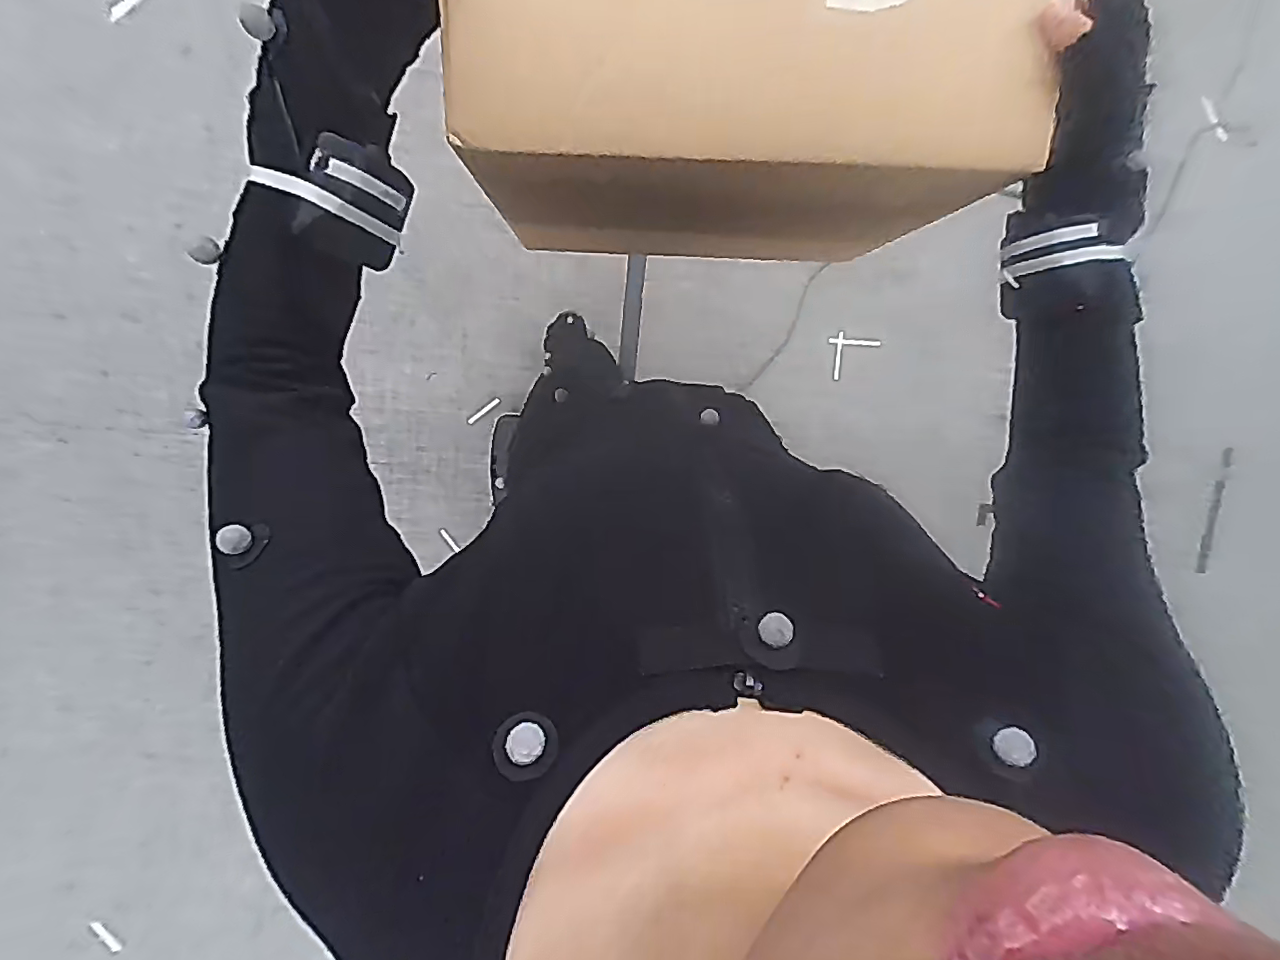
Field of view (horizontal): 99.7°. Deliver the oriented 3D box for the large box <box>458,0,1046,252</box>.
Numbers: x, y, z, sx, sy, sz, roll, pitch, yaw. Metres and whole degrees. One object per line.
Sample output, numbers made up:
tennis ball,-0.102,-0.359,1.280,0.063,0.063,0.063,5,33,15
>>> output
large box,0.069,-0.406,0.493,0.408,0.320,0.320,0,102,-4
